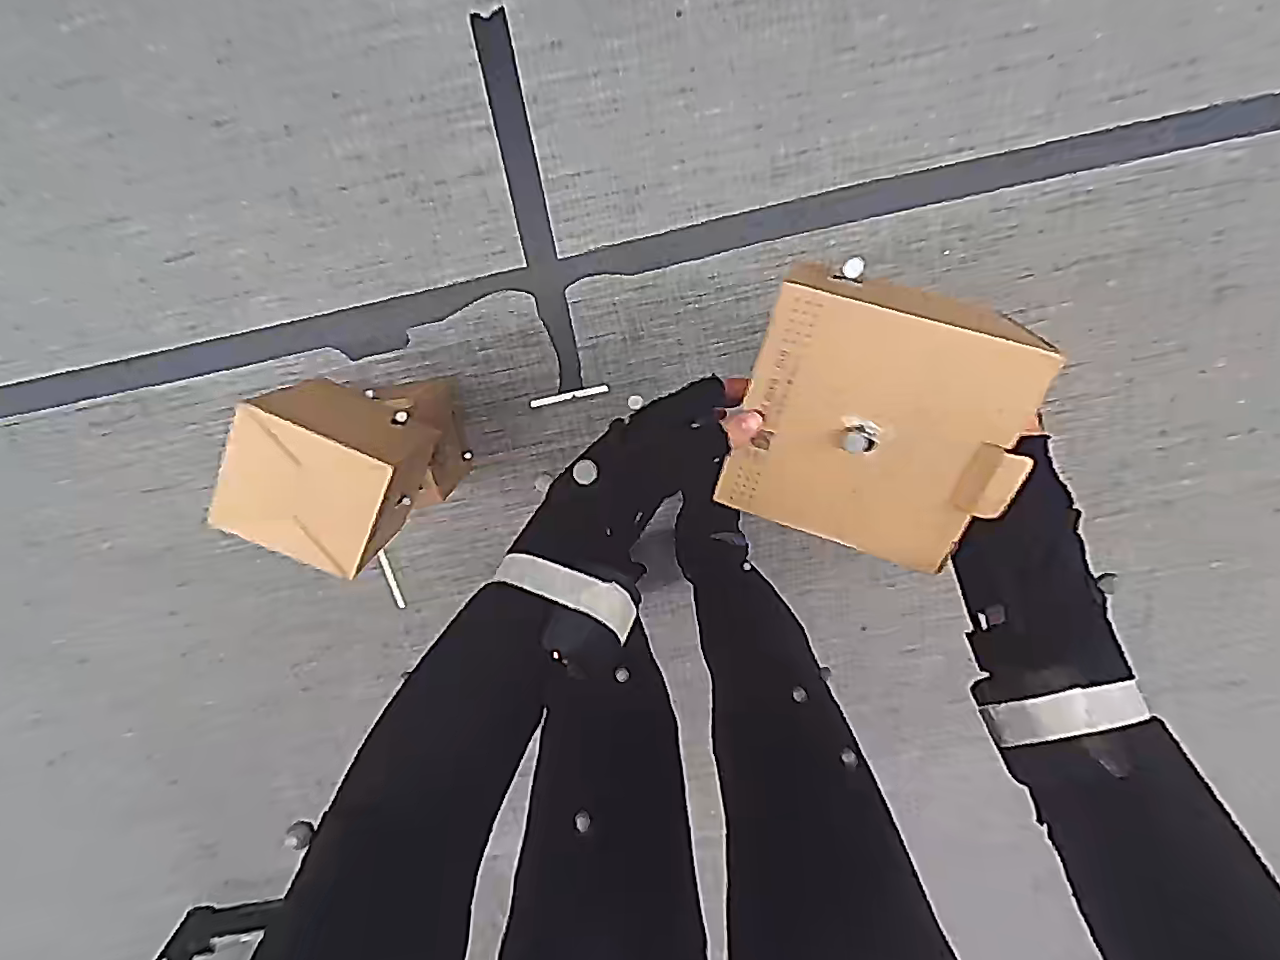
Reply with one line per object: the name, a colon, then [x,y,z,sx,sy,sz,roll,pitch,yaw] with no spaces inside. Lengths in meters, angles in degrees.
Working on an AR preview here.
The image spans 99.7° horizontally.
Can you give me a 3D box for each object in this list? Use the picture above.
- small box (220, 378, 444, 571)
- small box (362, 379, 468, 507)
small box: [-0.387,-0.009,0.700,0.179,0.176,0.168,24,108,-9]
small box: [-0.389,-0.057,0.861,0.179,0.176,0.168,-8,110,3]
